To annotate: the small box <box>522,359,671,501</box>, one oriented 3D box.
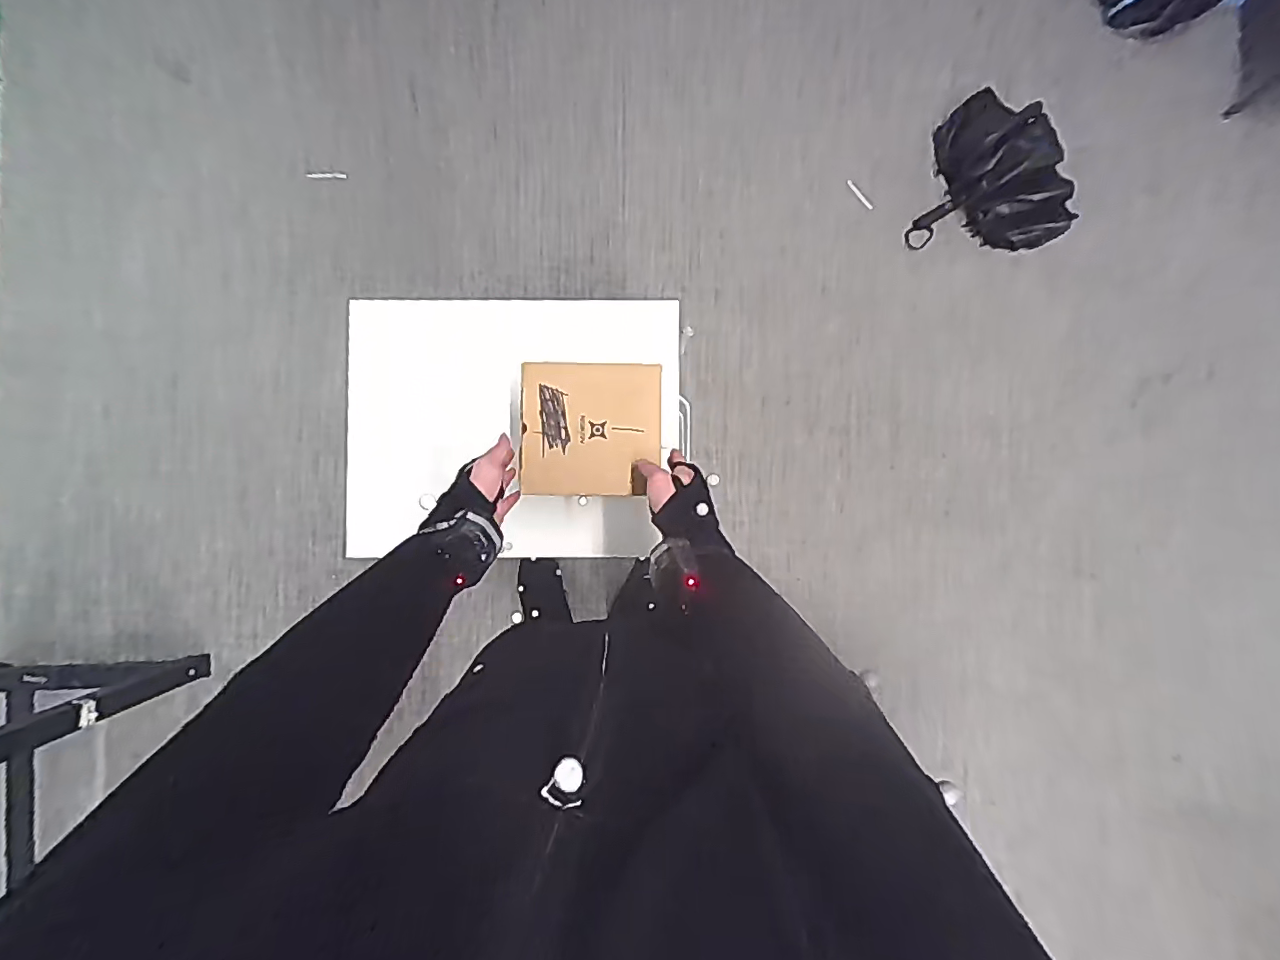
[{"bbox_3d":[-0.055,-0.057,0.730,0.179,0.176,0.168,2,87,-3],"label":"small box"}]
